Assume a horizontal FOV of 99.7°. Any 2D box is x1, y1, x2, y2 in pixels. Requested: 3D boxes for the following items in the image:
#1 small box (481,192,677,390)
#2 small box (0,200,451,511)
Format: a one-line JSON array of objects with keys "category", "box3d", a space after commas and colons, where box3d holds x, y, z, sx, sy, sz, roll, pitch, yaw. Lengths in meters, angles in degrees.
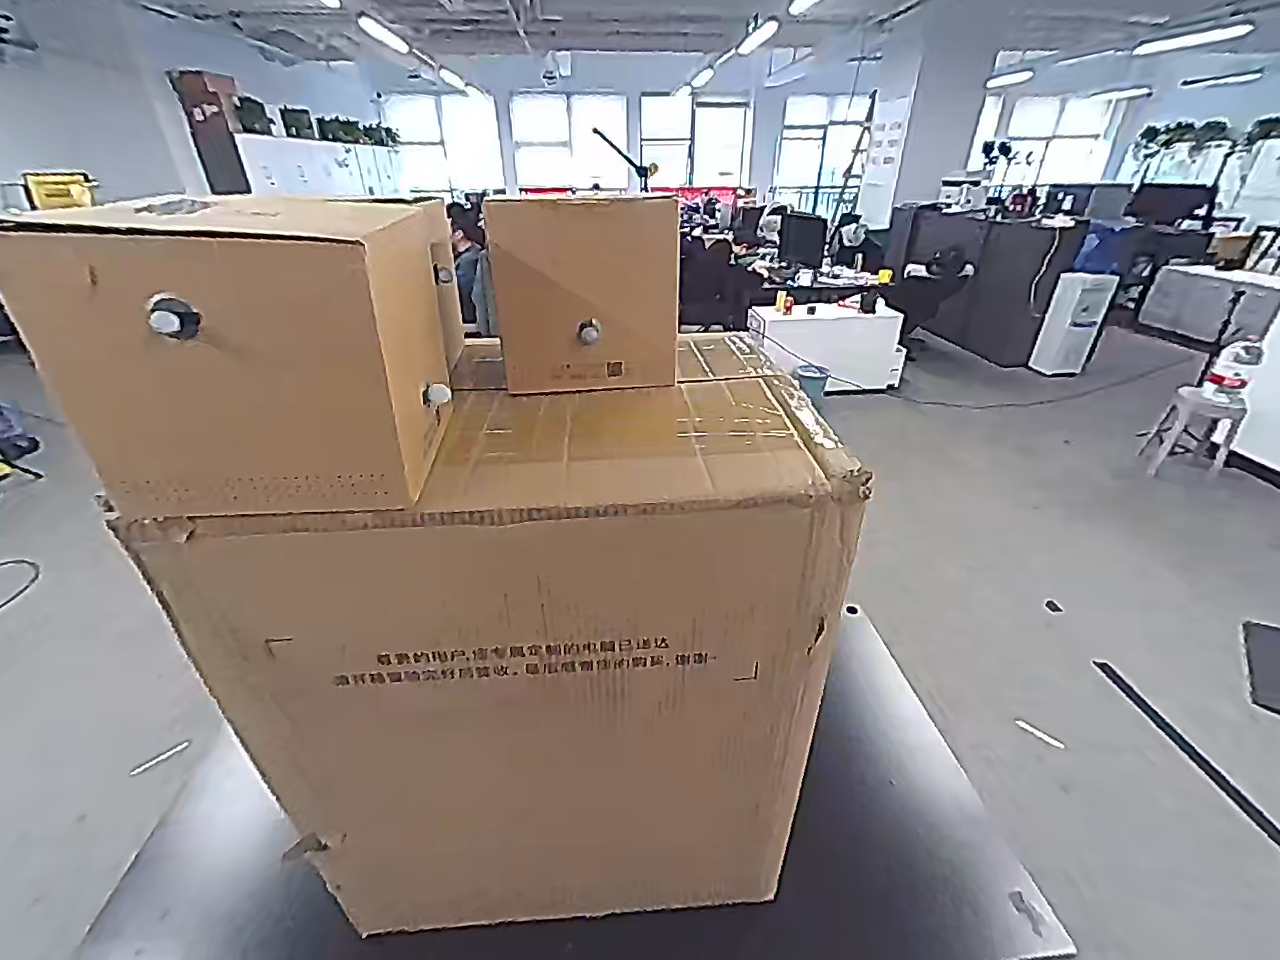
[{"category": "small box", "box3d": [-0.058, -0.199, 0.557, 0.168, 0.176, 0.179, -5, 29, -5]}, {"category": "small box", "box3d": [-0.240, -0.089, 0.367, 0.179, 0.176, 0.168, -1, 31, -8]}]
